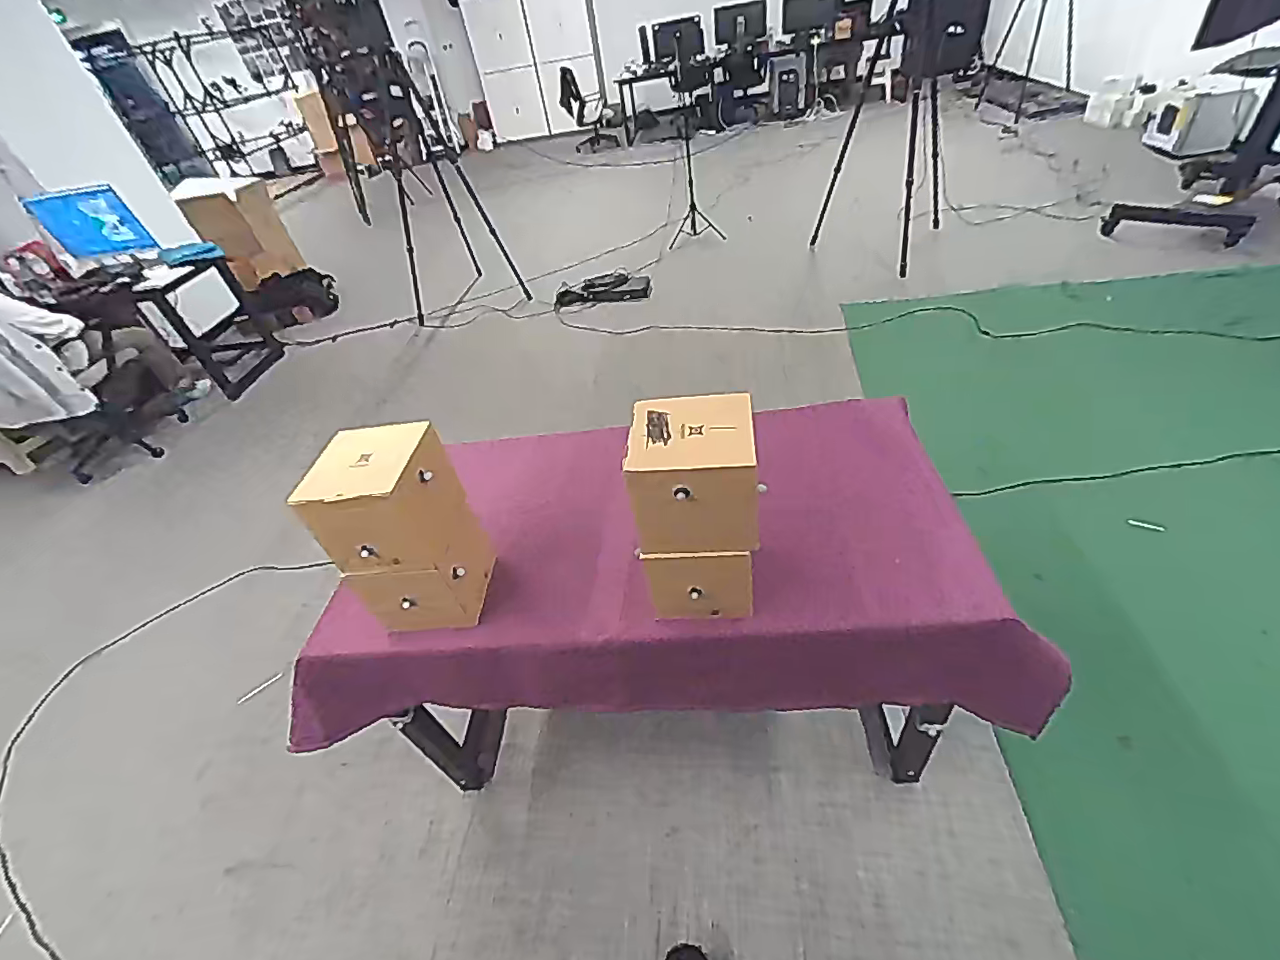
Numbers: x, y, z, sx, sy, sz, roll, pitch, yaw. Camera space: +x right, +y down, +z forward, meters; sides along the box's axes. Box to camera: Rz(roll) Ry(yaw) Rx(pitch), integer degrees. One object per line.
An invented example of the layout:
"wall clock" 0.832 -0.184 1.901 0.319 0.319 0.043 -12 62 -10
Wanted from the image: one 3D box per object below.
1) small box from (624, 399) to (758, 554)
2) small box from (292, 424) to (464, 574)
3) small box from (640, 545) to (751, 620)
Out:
"small box" 0.083 -0.002 0.807 0.179 0.176 0.168 -2 42 10
"small box" -0.407 0.032 0.881 0.168 0.176 0.179 -5 42 7
"small box" 0.100 0.122 0.914 0.168 0.176 0.179 -3 42 9
